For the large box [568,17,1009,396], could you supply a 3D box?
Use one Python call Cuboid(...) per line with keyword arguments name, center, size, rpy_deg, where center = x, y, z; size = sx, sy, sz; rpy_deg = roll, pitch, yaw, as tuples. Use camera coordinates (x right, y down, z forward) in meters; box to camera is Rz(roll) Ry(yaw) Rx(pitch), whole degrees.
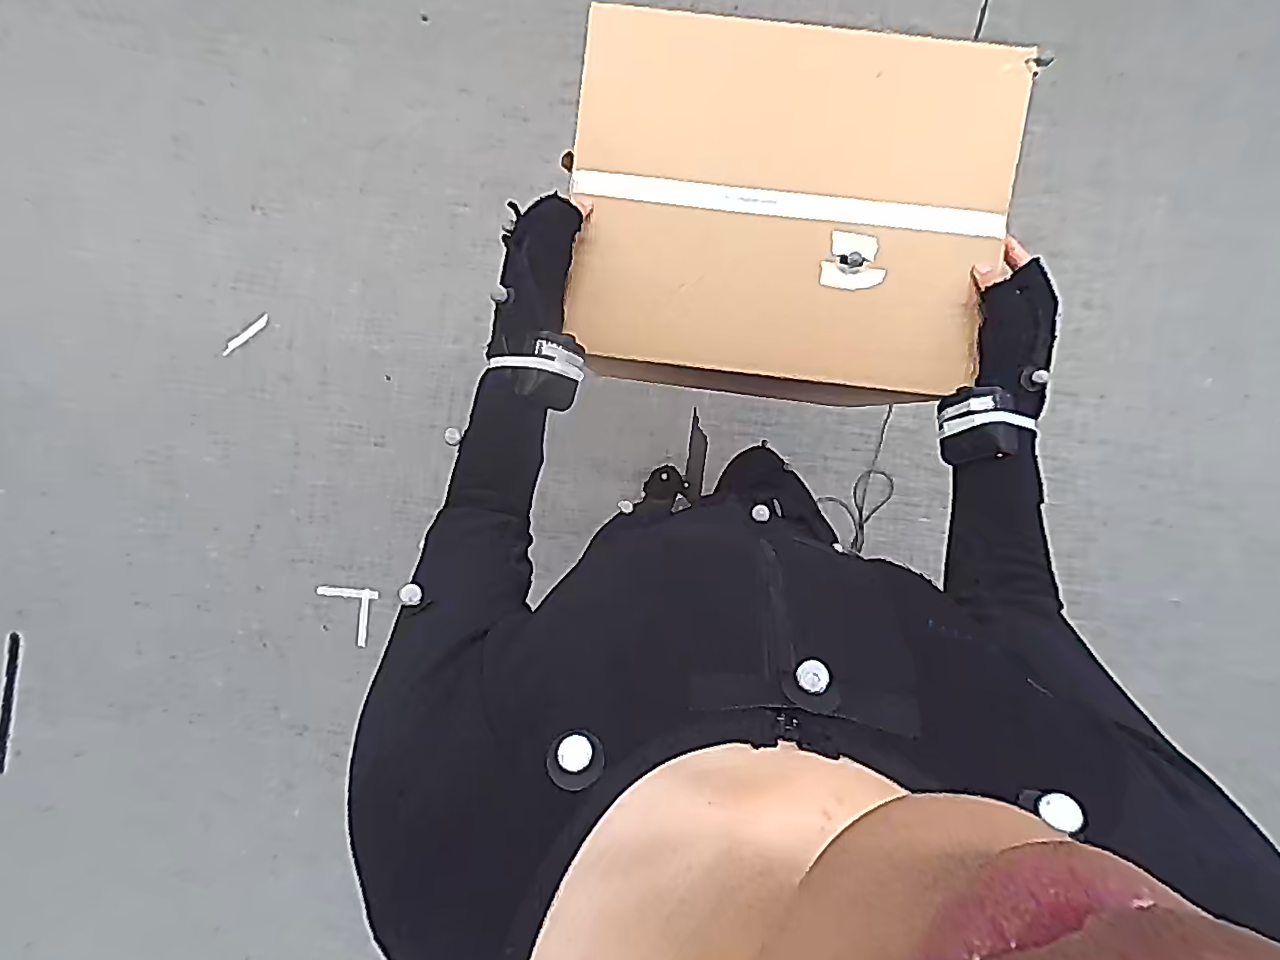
Cuboid(name="large box", center=(0.139, -0.284, 0.674), size=(0.408, 0.320, 0.320), rpy_deg=(7, 97, 0))
